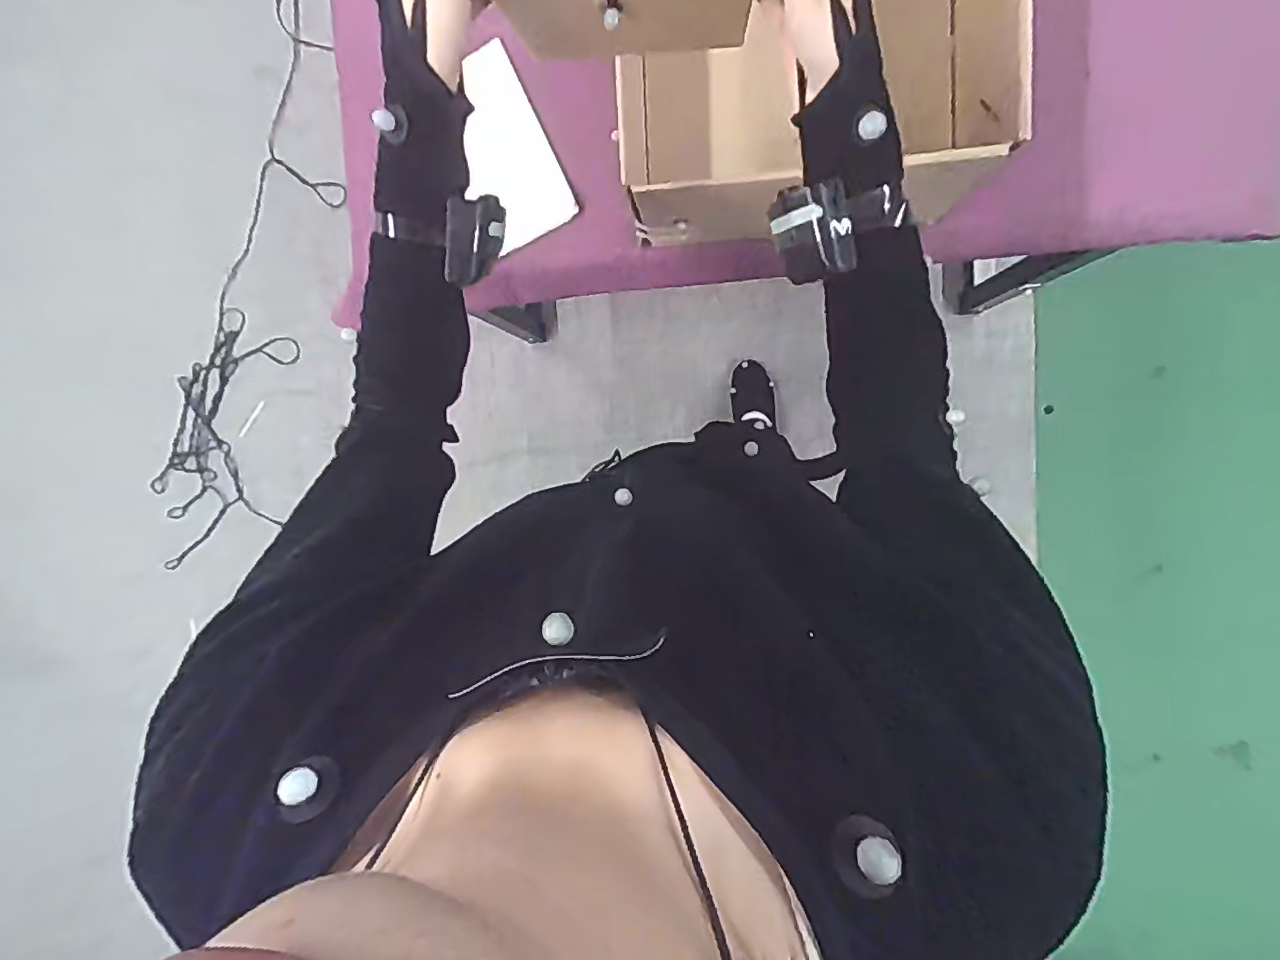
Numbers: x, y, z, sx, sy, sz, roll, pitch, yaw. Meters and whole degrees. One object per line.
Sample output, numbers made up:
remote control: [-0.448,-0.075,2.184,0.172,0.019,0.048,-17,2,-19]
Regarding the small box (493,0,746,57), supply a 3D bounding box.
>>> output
small box: [-0.012,-0.395,0.337,0.179,0.176,0.168,1,110,6]
